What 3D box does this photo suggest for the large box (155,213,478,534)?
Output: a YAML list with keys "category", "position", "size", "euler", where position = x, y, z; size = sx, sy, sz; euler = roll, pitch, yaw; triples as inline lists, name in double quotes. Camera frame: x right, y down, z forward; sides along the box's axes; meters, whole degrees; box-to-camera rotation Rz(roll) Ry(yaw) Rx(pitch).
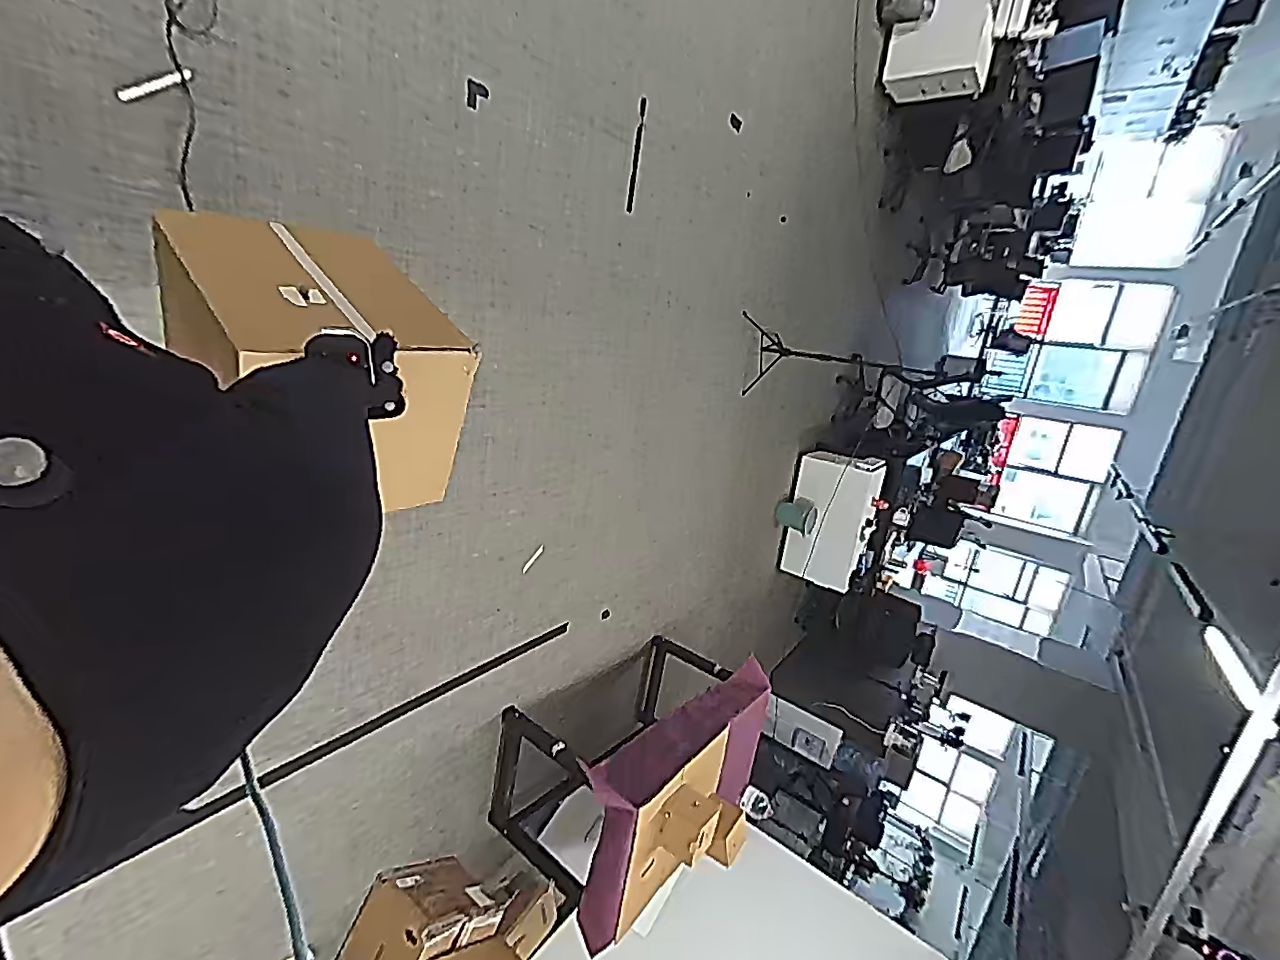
- category: "large box"
  position: [-0.541, -0.180, 0.899]
  size: [0.320, 0.408, 0.320]
  euler: [-16, 142, -47]
